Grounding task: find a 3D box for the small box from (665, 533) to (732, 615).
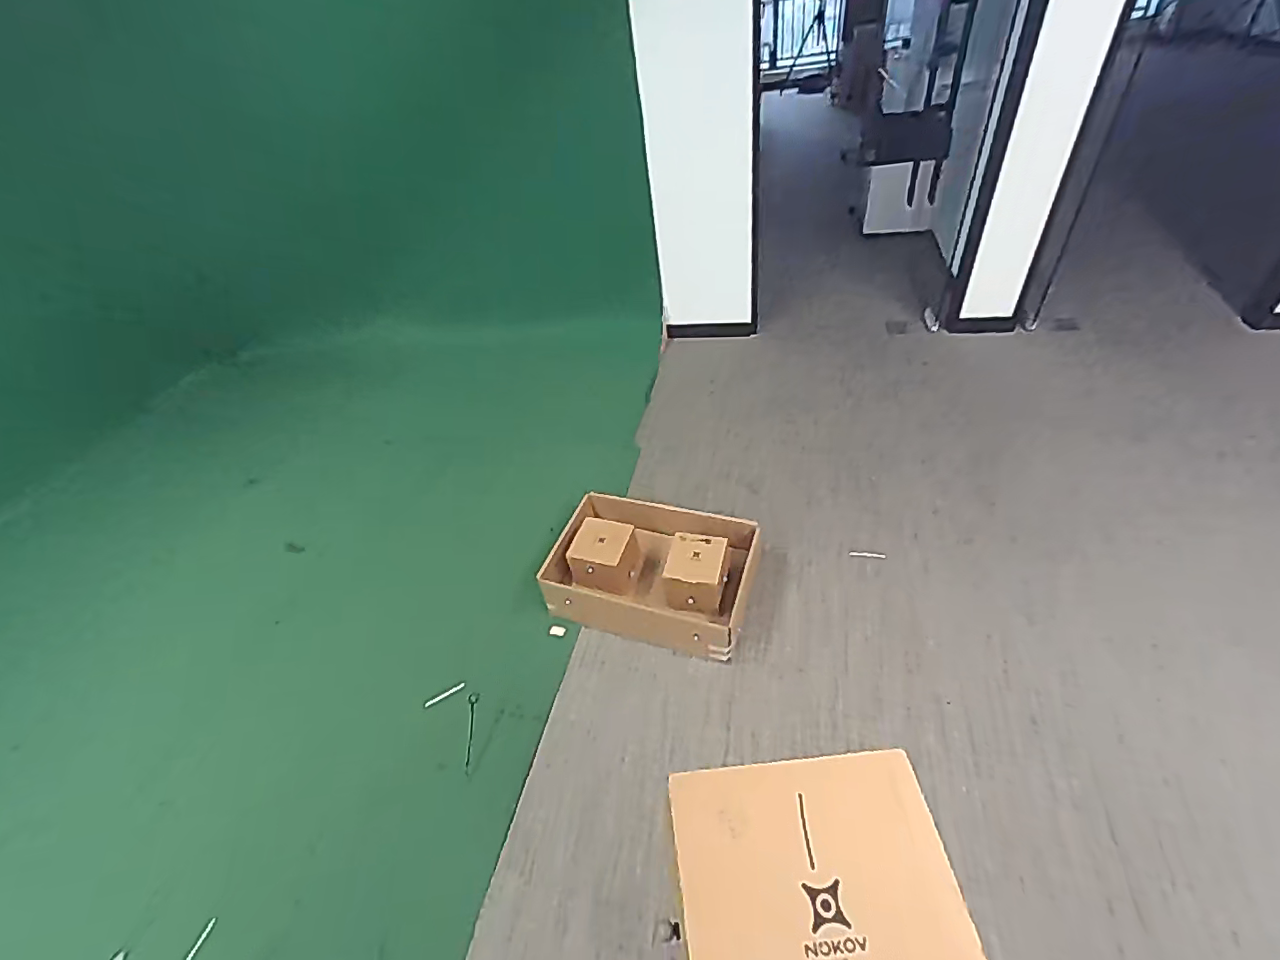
[{"bbox_3d":[0.186,0.290,1.655,0.168,0.176,0.179,6,47,18],"label":"small box"}]
